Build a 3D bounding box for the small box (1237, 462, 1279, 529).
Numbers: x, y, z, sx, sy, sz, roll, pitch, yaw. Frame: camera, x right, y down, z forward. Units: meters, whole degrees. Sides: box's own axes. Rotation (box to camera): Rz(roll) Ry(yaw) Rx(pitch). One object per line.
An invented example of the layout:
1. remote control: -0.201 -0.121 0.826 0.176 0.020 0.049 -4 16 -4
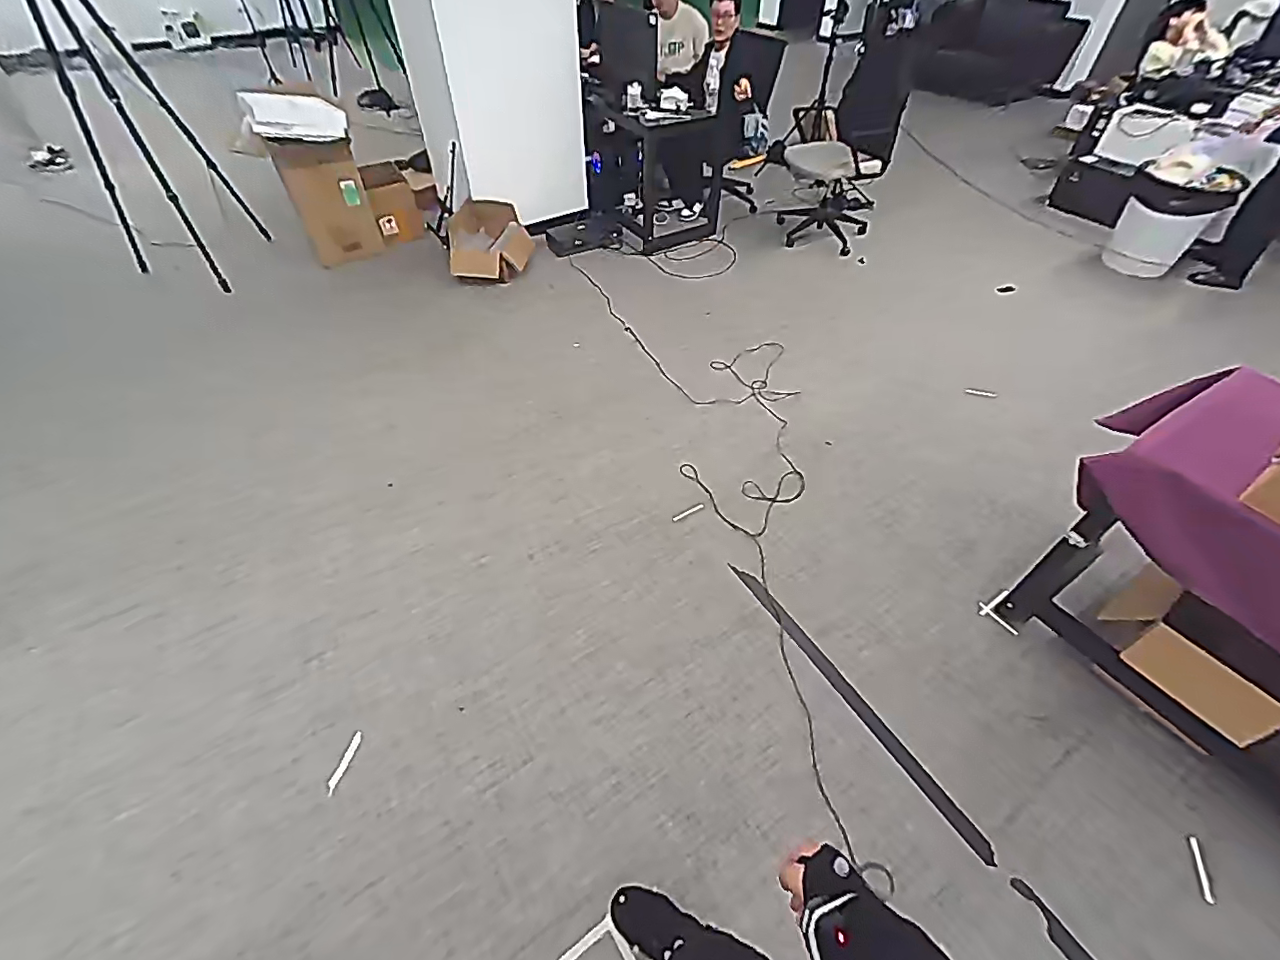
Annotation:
1. small box: 1.390 0.021 1.088 0.168 0.176 0.179 -26 53 -22
